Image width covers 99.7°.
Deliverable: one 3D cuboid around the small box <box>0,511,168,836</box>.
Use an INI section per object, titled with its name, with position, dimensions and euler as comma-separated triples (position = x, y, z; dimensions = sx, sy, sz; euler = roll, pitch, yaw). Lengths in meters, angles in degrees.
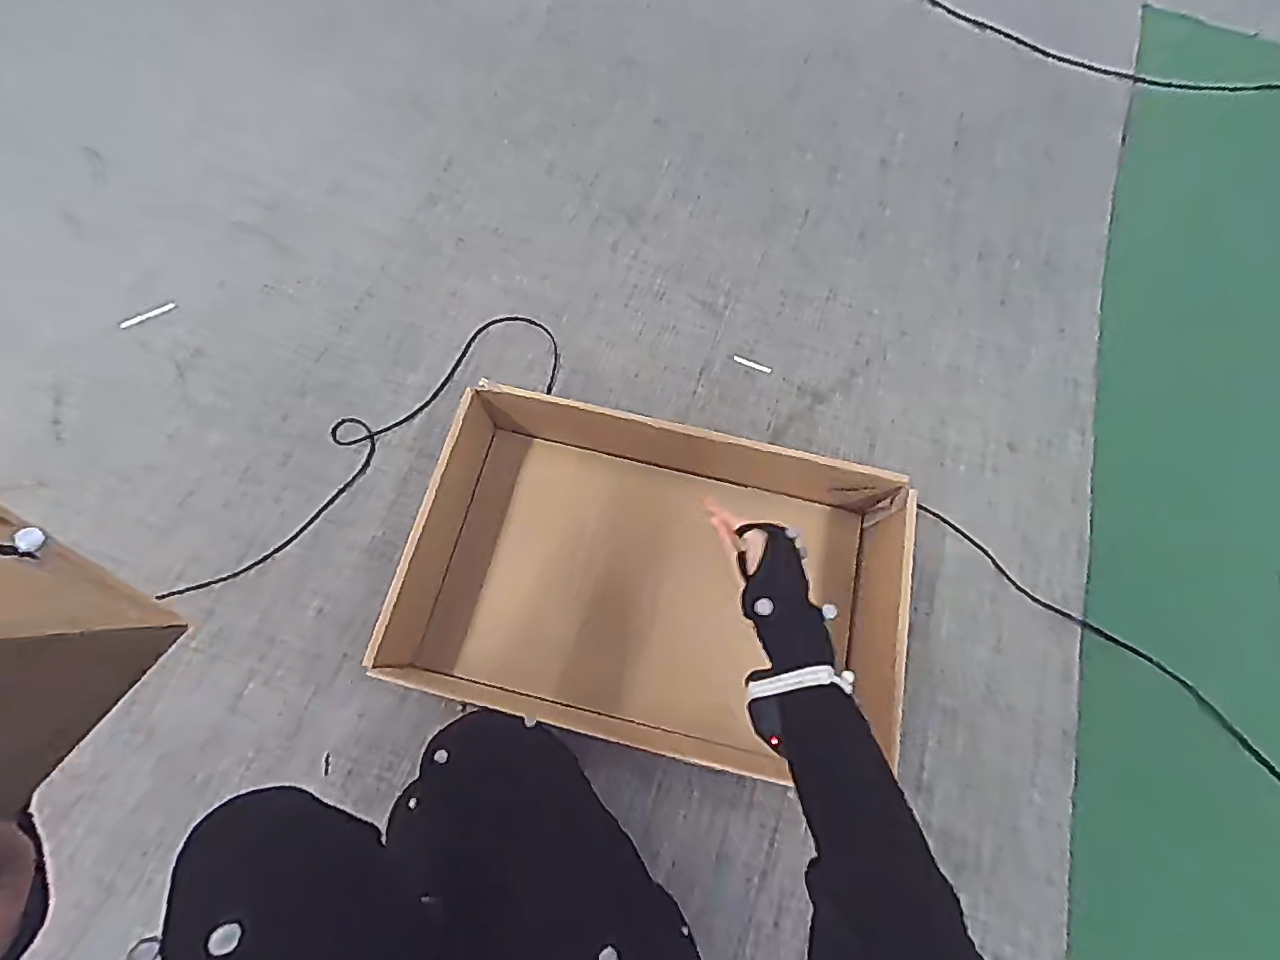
[small box]
position = -0.359, 0.095, 0.216
dimensions = 0.168, 0.176, 0.179
euler = 36, 68, -7
